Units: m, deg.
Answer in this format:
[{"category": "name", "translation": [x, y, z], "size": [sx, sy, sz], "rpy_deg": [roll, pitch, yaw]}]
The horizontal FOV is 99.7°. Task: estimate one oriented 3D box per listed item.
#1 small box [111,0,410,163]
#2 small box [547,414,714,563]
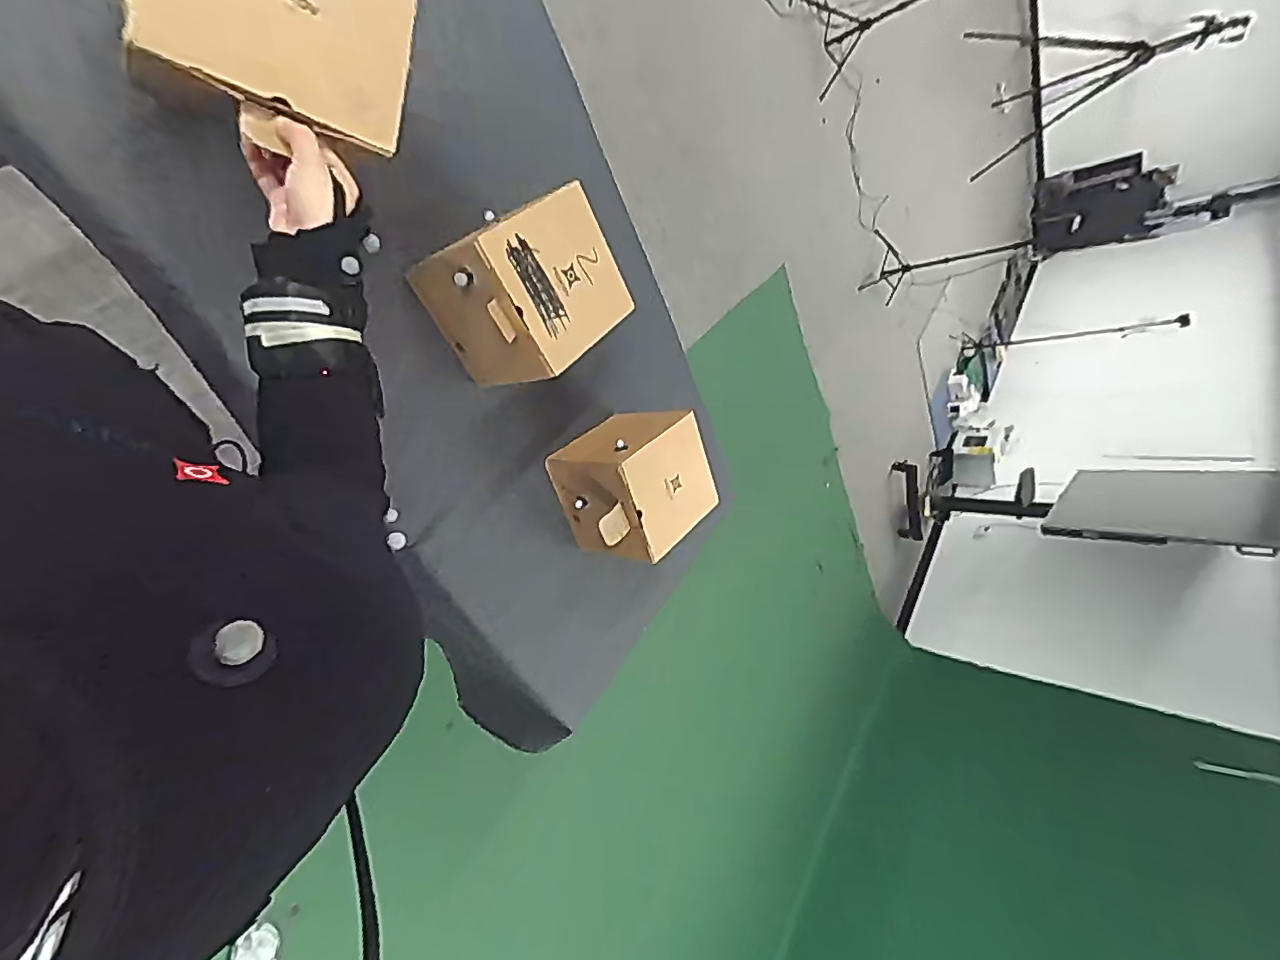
[{"category": "small box", "translation": [-0.300, -0.373, 0.427], "size": [0.168, 0.176, 0.179], "rpy_deg": [-2, 111, -46]}, {"category": "small box", "translation": [-0.013, 0.003, 0.853], "size": [0.179, 0.176, 0.168], "rpy_deg": [-38, 120, -38]}]
